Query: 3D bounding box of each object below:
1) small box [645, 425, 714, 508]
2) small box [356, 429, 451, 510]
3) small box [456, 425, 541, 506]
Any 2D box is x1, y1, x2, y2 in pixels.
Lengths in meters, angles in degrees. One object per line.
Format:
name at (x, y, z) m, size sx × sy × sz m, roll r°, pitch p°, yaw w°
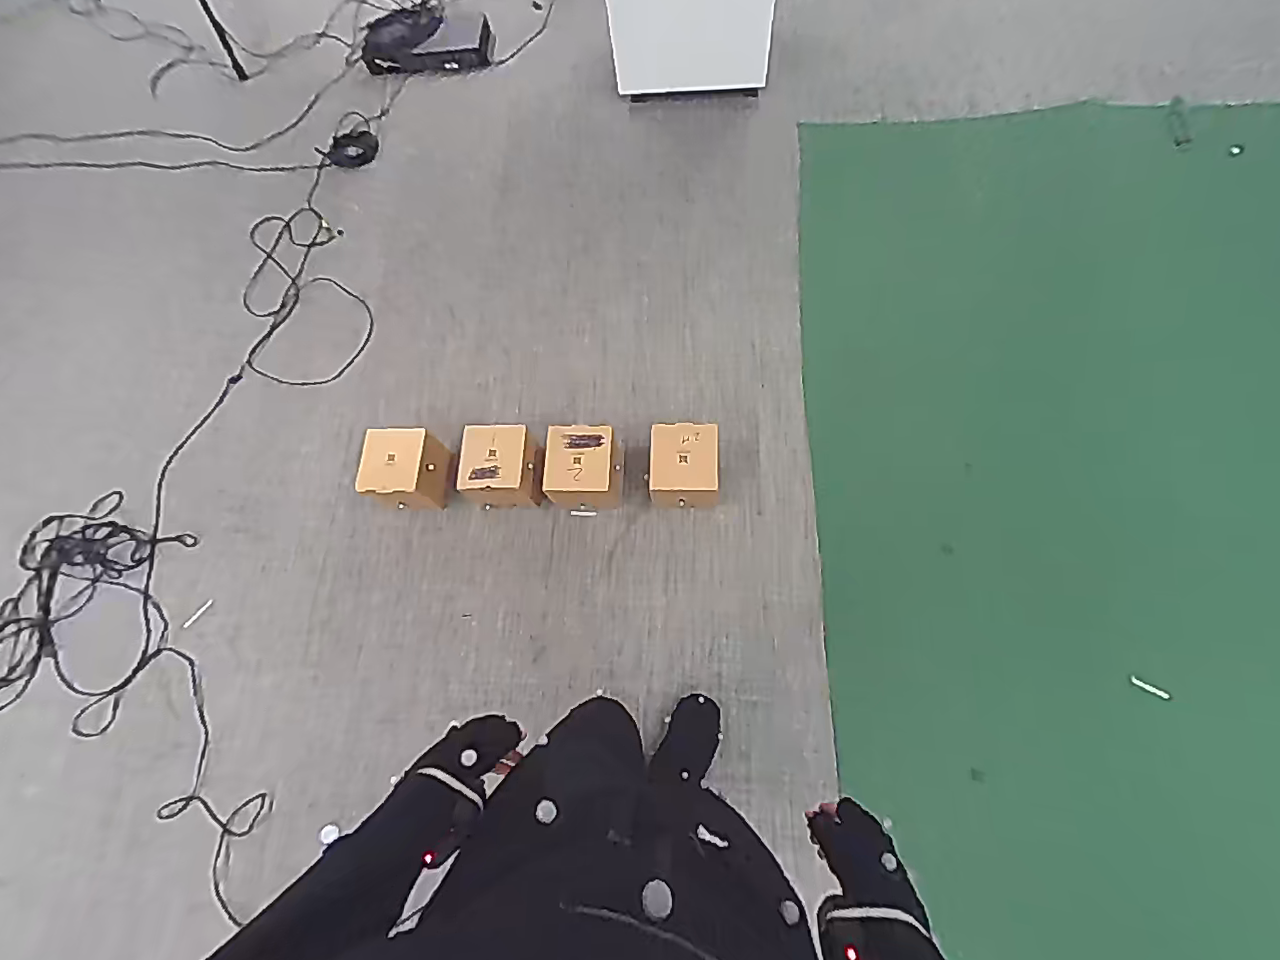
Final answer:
small box at (0.107, -0.030, 1.400) m, size 0.168 × 0.176 × 0.179 m, roll 1°, pitch 71°, yaw 6°
small box at (-0.636, -0.027, 1.480) m, size 0.168 × 0.176 × 0.179 m, roll 0°, pitch 71°, yaw 7°
small box at (-0.371, -0.034, 1.450) m, size 0.168 × 0.176 × 0.179 m, roll -1°, pitch 69°, yaw 7°
